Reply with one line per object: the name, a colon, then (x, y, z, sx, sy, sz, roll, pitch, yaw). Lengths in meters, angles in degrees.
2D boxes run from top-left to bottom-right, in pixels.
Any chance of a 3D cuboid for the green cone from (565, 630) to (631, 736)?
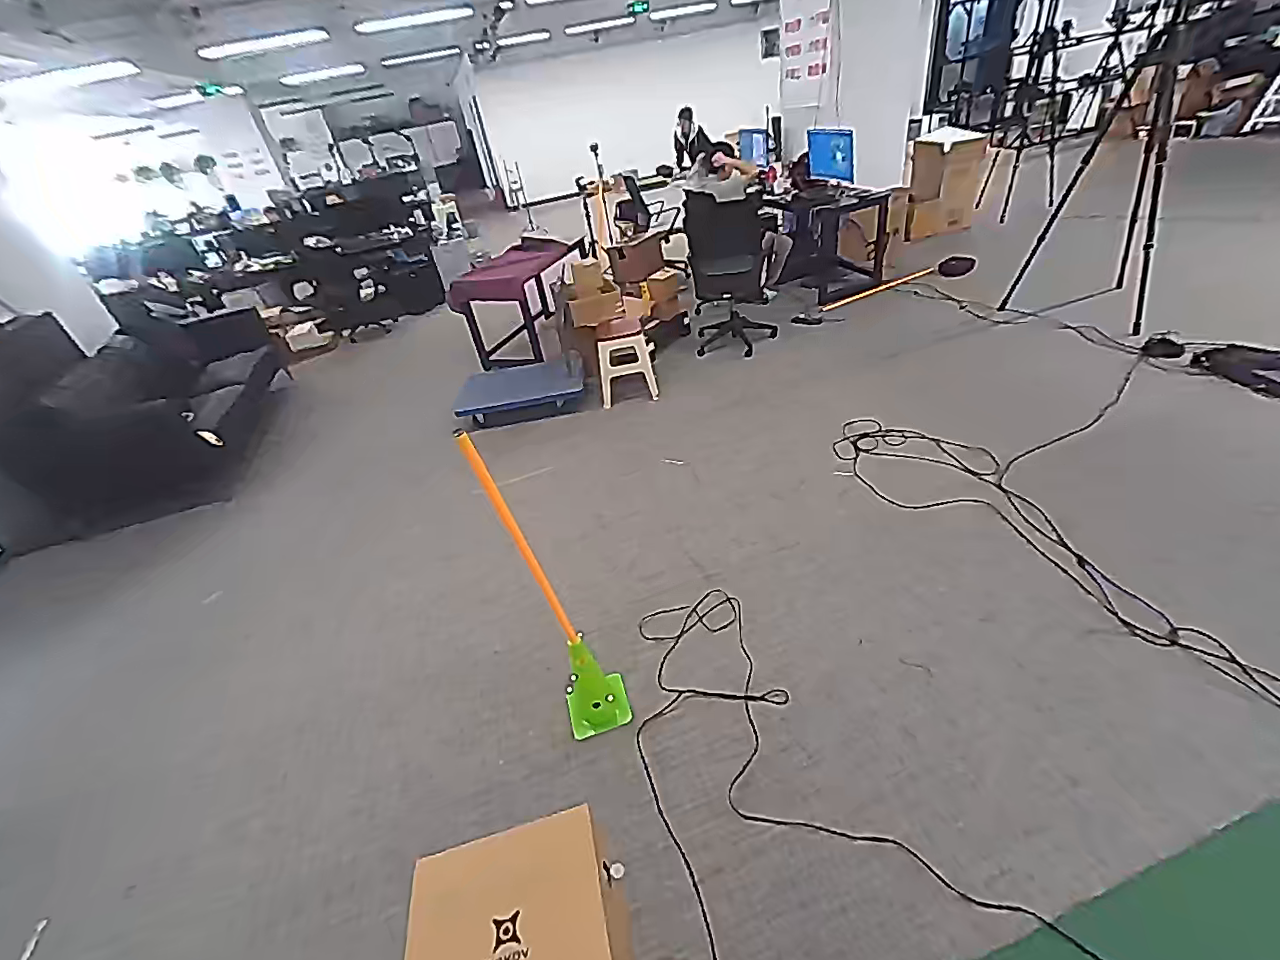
green cone: (-0.170, 0.616, 1.728, 0.202, 0.368, 0.200, -16, 36, -9)
